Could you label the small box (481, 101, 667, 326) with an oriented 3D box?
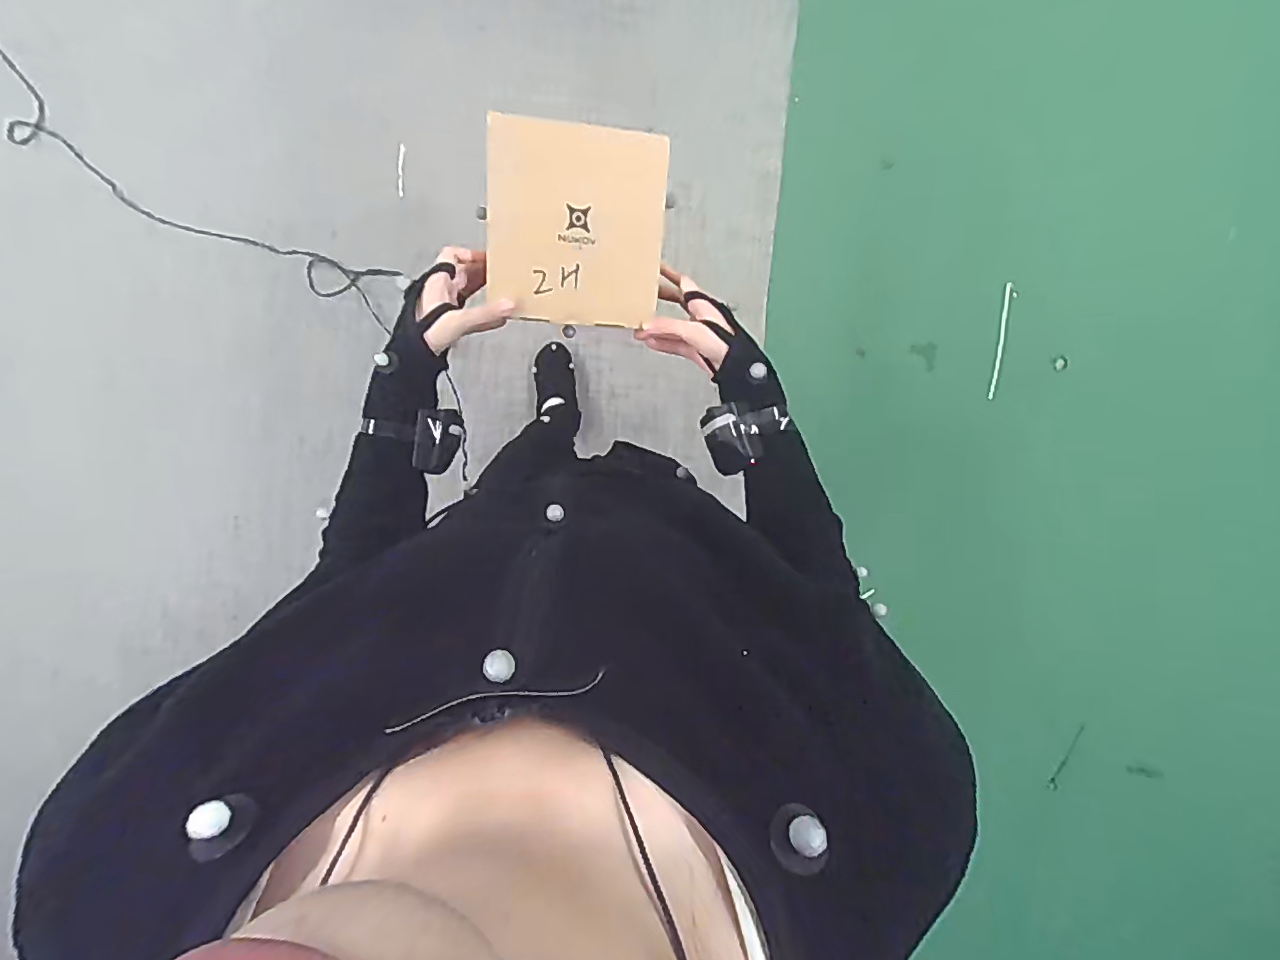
[{"bbox_3d":[-0.073,-0.262,0.577,0.168,0.176,0.179,2,105,-8],"label":"small box"}]
